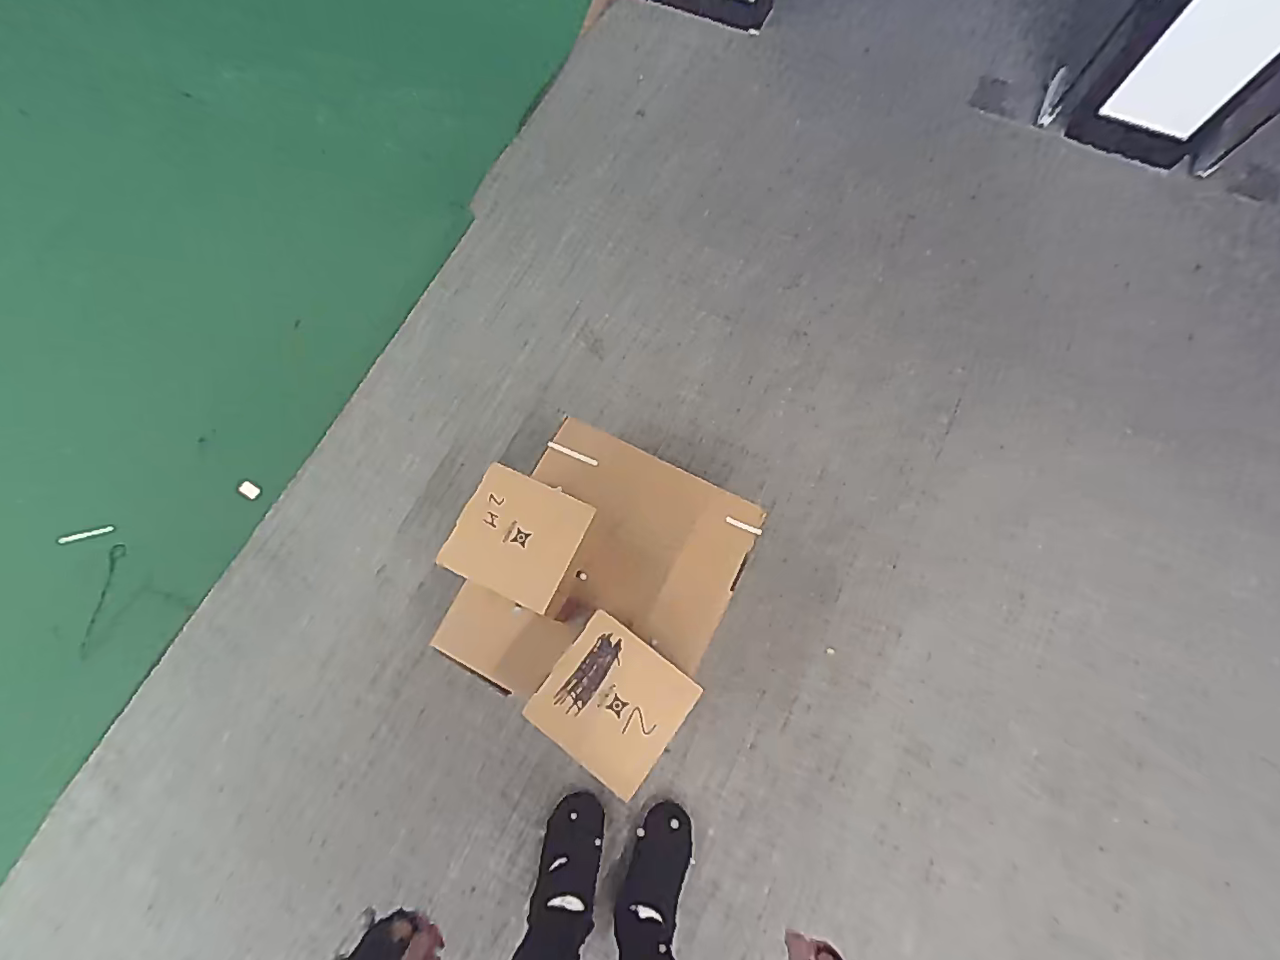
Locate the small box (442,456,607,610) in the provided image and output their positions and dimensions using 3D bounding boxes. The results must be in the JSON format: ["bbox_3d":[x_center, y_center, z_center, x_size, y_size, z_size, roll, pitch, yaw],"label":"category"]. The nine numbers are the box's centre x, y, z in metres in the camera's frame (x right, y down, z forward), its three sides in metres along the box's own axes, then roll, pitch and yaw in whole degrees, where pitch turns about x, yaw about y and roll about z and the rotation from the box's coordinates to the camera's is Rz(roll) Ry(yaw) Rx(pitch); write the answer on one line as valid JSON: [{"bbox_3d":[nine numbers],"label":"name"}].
[{"bbox_3d":[-0.162,0.090,0.835,0.179,0.176,0.168,24,75,9],"label":"small box"}]
